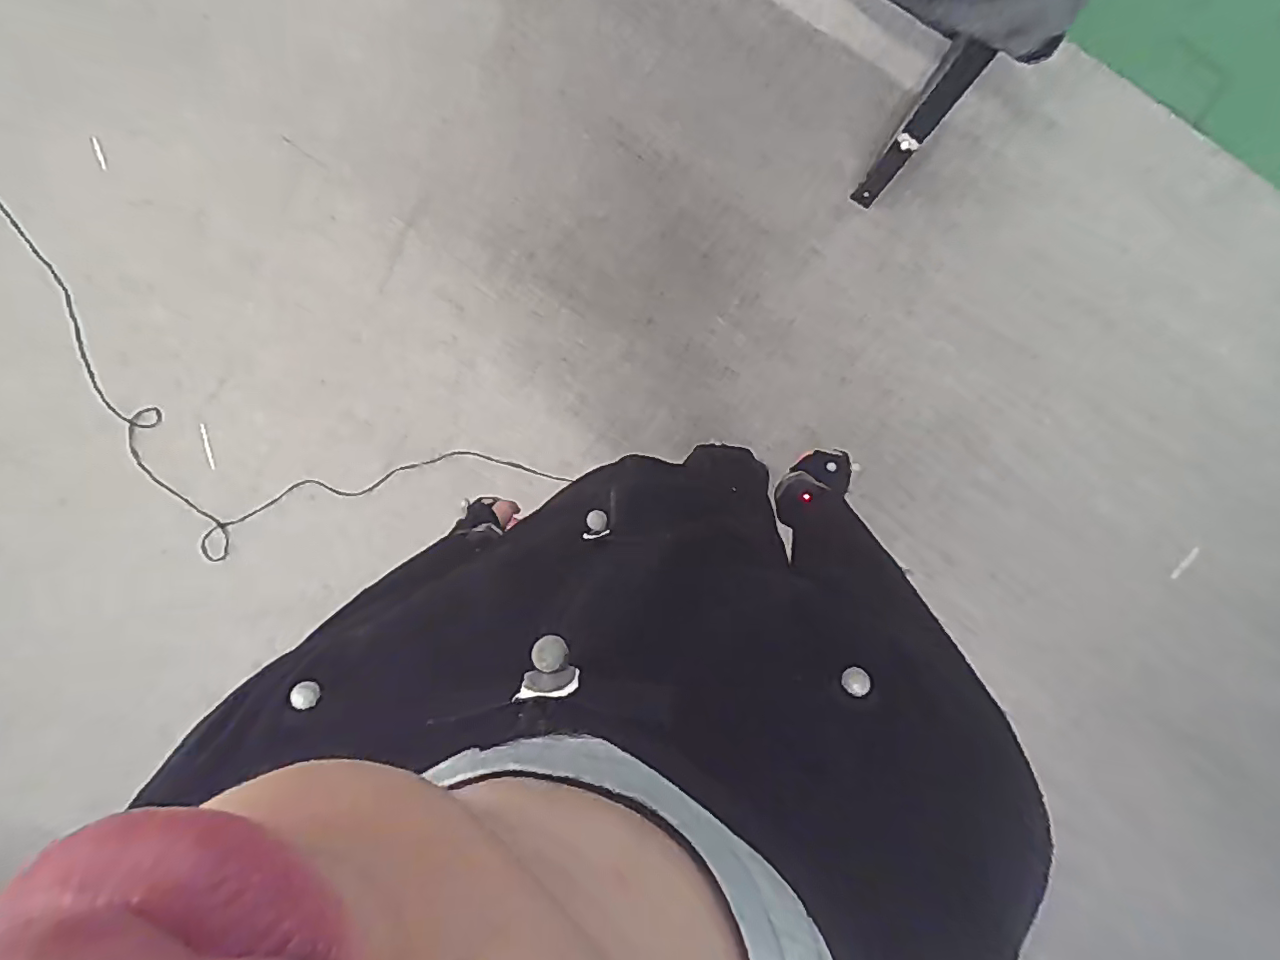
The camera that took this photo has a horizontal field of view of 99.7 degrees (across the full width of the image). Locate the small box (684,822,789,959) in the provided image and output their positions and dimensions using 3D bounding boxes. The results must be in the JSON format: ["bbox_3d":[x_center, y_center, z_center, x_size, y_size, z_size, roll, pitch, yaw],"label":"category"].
[{"bbox_3d":[0.210,0.927,1.231,0.179,0.176,0.168,25,99,0],"label":"small box"}]
